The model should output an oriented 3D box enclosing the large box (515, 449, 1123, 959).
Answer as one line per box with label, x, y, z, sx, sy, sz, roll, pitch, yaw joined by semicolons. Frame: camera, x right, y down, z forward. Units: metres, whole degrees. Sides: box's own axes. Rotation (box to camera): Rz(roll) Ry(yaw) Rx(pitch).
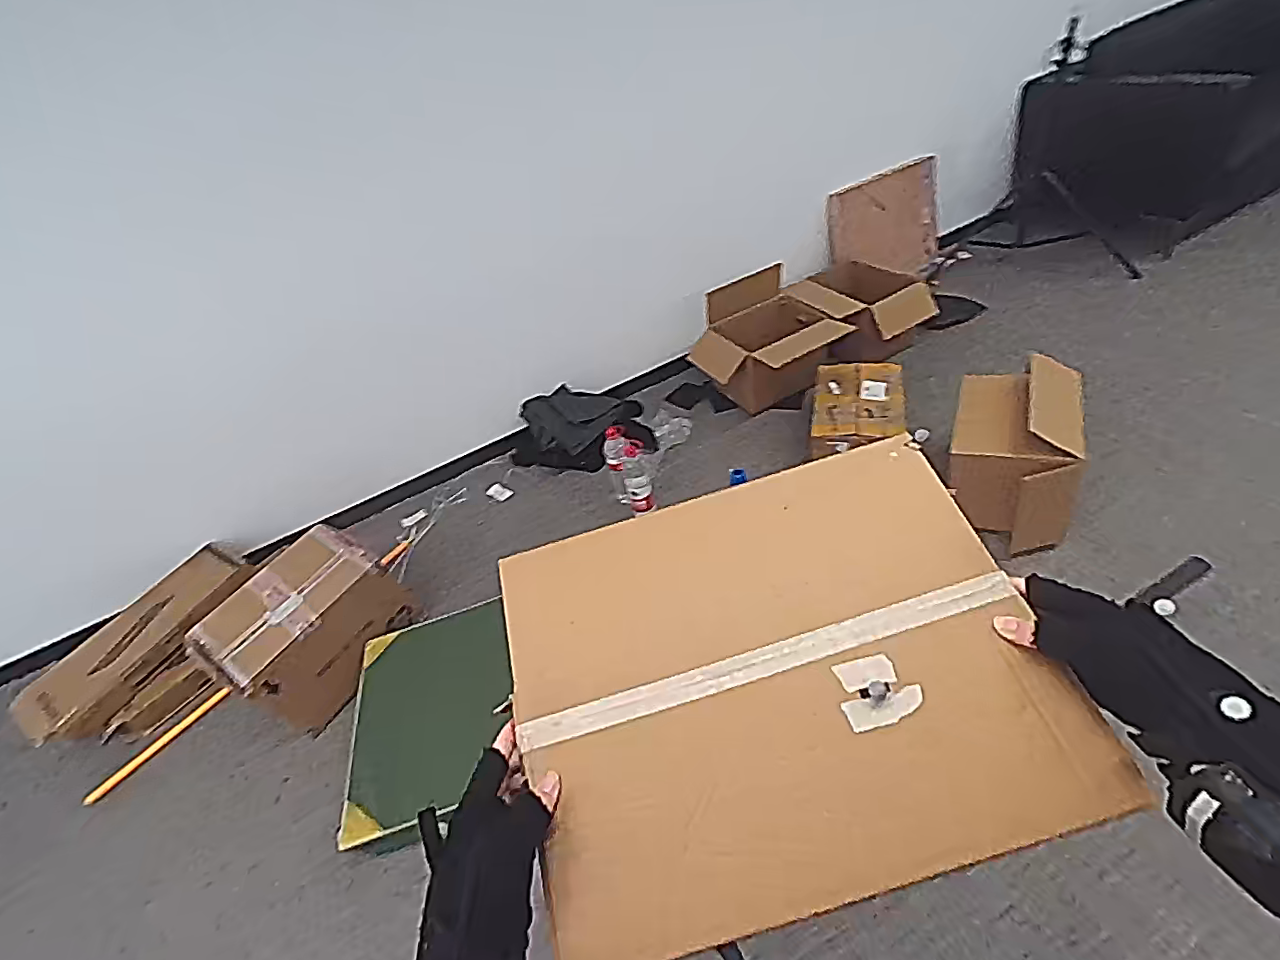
large box;0.127;0.227;0.570;0.408;0.320;0.320;-17;59;0
